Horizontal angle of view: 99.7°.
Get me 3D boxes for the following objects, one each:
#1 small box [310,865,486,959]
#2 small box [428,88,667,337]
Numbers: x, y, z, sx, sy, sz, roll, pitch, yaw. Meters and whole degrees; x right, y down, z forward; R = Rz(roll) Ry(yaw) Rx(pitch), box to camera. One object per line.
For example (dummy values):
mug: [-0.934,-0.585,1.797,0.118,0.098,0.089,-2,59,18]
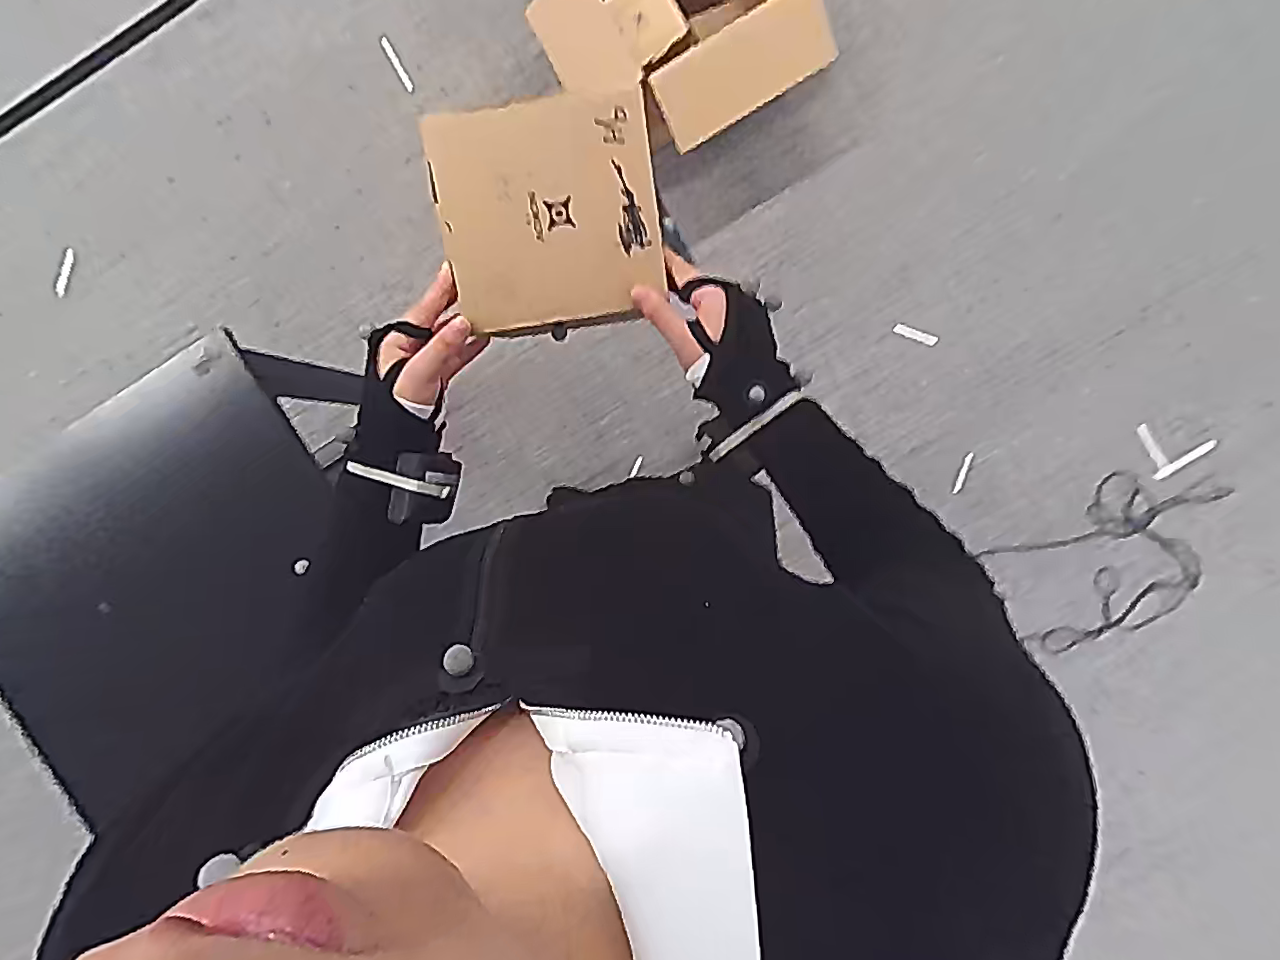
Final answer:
small box: [-0.347,0.682,0.747,0.168,0.176,0.179,-38,93,4]
small box: [-0.071,-0.232,0.516,0.179,0.176,0.168,-8,104,2]
